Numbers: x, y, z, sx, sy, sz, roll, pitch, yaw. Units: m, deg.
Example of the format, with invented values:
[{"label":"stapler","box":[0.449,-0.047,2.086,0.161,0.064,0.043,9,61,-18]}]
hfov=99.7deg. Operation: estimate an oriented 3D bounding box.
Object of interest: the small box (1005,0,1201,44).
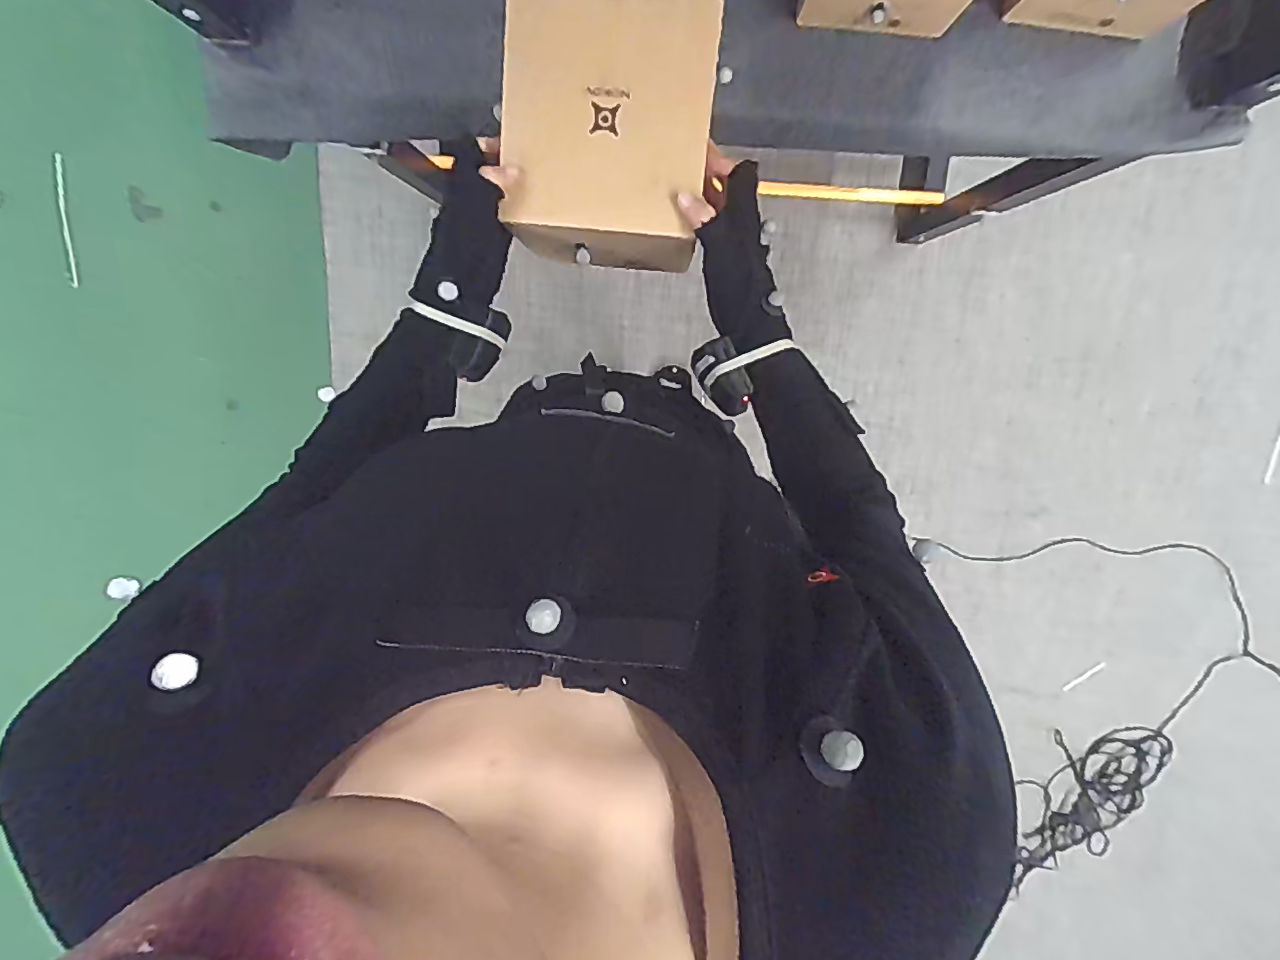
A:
[{"label":"small box","box":[0.490,-0.561,0.512,0.168,0.176,0.179,8,103,-1]}]
